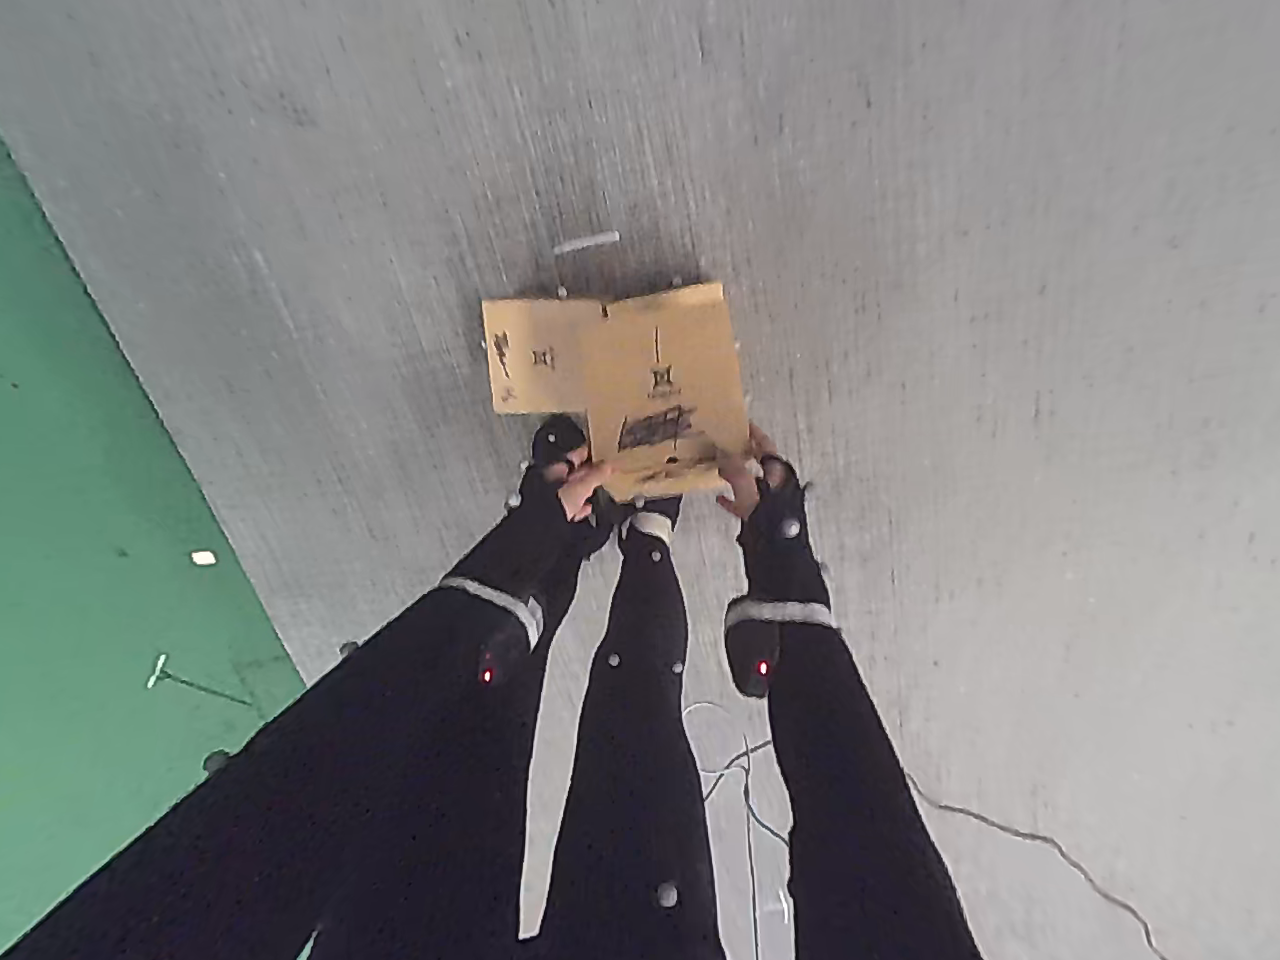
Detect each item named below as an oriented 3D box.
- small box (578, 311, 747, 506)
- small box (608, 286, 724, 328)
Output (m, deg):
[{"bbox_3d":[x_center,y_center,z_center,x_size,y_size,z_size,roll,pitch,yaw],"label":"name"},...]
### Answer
[{"bbox_3d":[0.029,-0.070,0.643,0.168,0.176,0.179,-8,76,4],"label":"small box"},{"bbox_3d":[0.051,-0.204,0.859,0.168,0.176,0.179,-10,112,7],"label":"small box"}]
